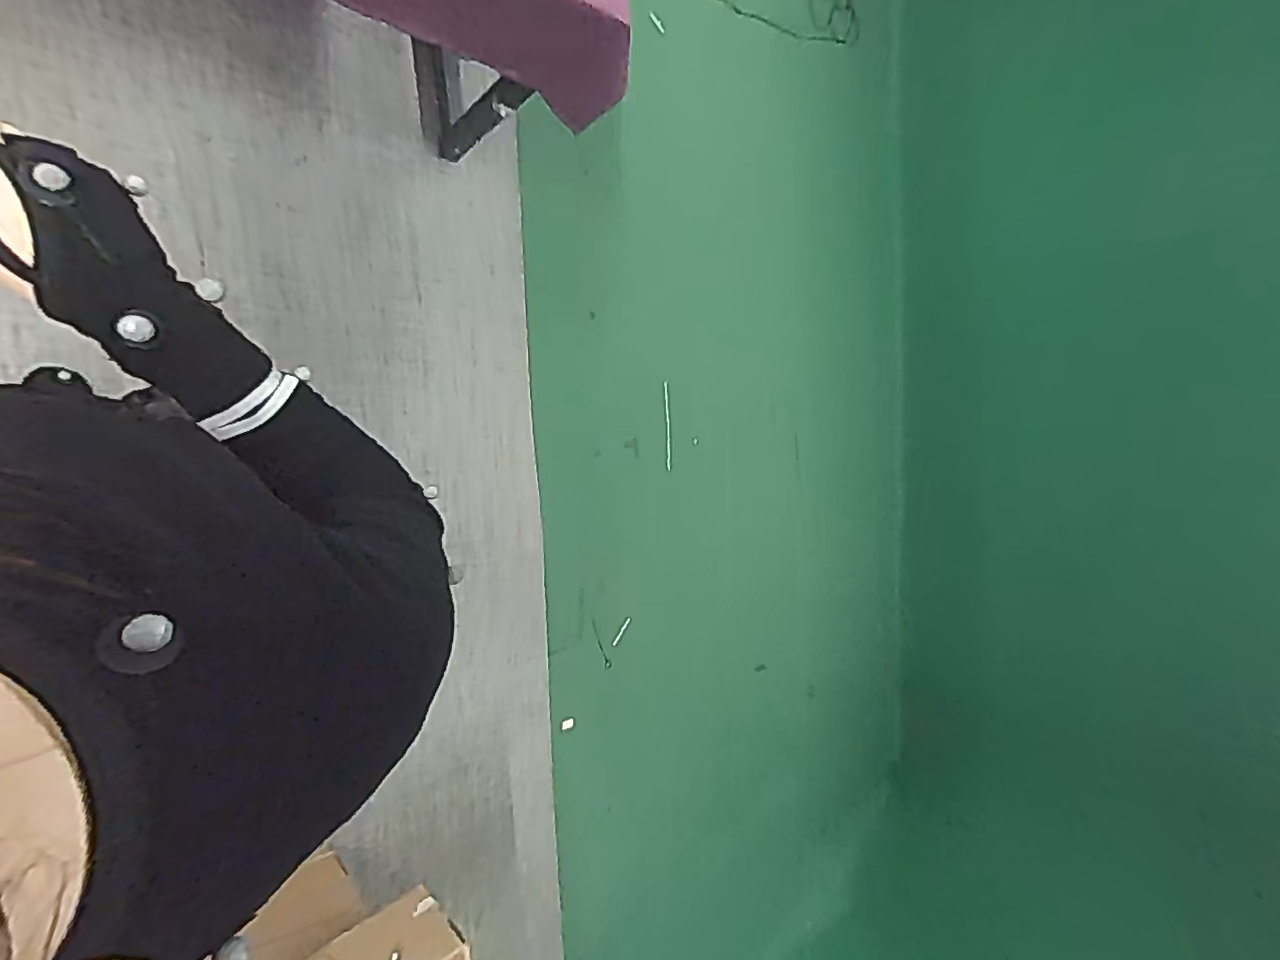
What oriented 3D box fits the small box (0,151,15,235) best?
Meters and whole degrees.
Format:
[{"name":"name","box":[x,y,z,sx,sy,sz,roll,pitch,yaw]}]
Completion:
[{"name":"small box","box":[-0.468,-0.240,0.274,0.168,0.176,0.179,-14,102,-43]}]
